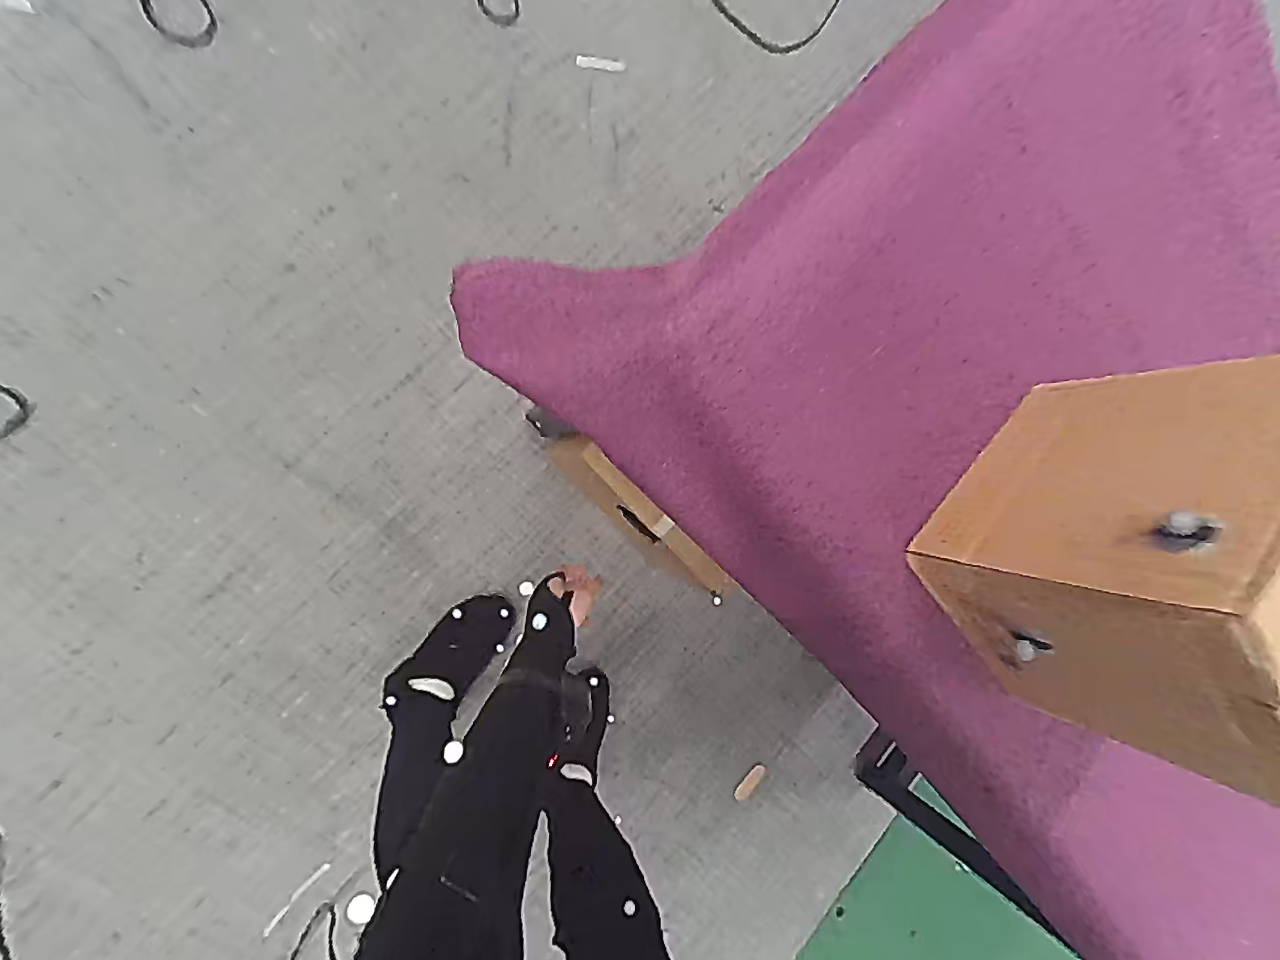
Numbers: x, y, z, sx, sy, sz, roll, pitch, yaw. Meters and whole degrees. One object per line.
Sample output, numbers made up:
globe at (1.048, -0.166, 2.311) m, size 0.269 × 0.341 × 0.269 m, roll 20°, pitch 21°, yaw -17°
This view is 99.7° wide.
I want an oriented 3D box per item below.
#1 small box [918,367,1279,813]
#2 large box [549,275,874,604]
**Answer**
small box at (0.310, 0.048, 0.318) m, size 0.179 × 0.176 × 0.168 m, roll -46°, pitch 105°, yaw -12°
large box at (0.104, -0.070, 0.942) m, size 0.408 × 0.320 × 0.320 m, roll -46°, pitch 105°, yaw -10°
